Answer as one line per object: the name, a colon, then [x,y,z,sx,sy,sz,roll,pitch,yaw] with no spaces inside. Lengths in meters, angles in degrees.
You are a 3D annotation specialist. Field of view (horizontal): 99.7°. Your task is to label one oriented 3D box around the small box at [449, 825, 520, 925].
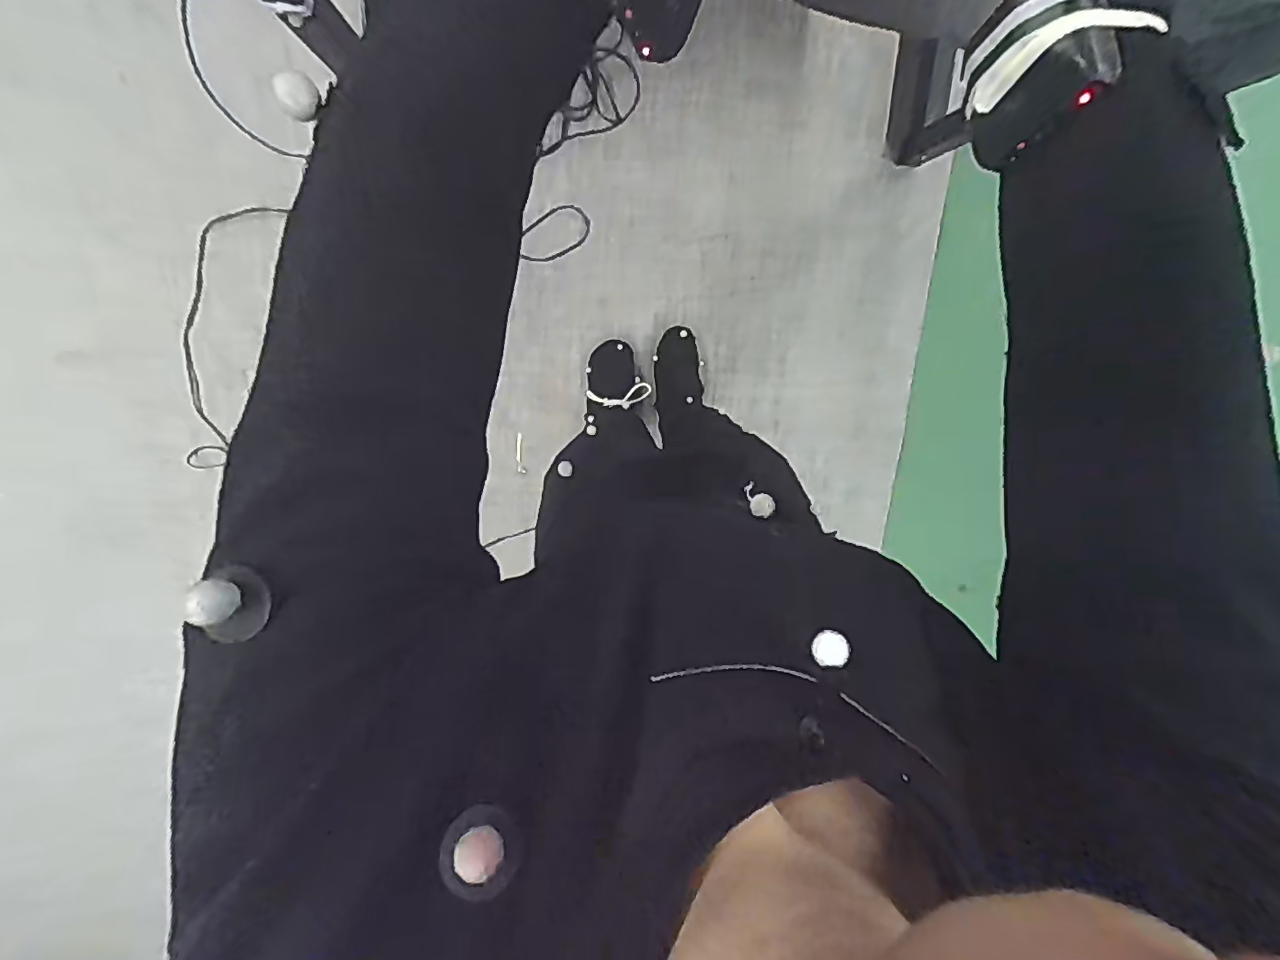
small box: [-0.442,1.134,1.563,0.179,0.176,0.168,0,107,-6]
